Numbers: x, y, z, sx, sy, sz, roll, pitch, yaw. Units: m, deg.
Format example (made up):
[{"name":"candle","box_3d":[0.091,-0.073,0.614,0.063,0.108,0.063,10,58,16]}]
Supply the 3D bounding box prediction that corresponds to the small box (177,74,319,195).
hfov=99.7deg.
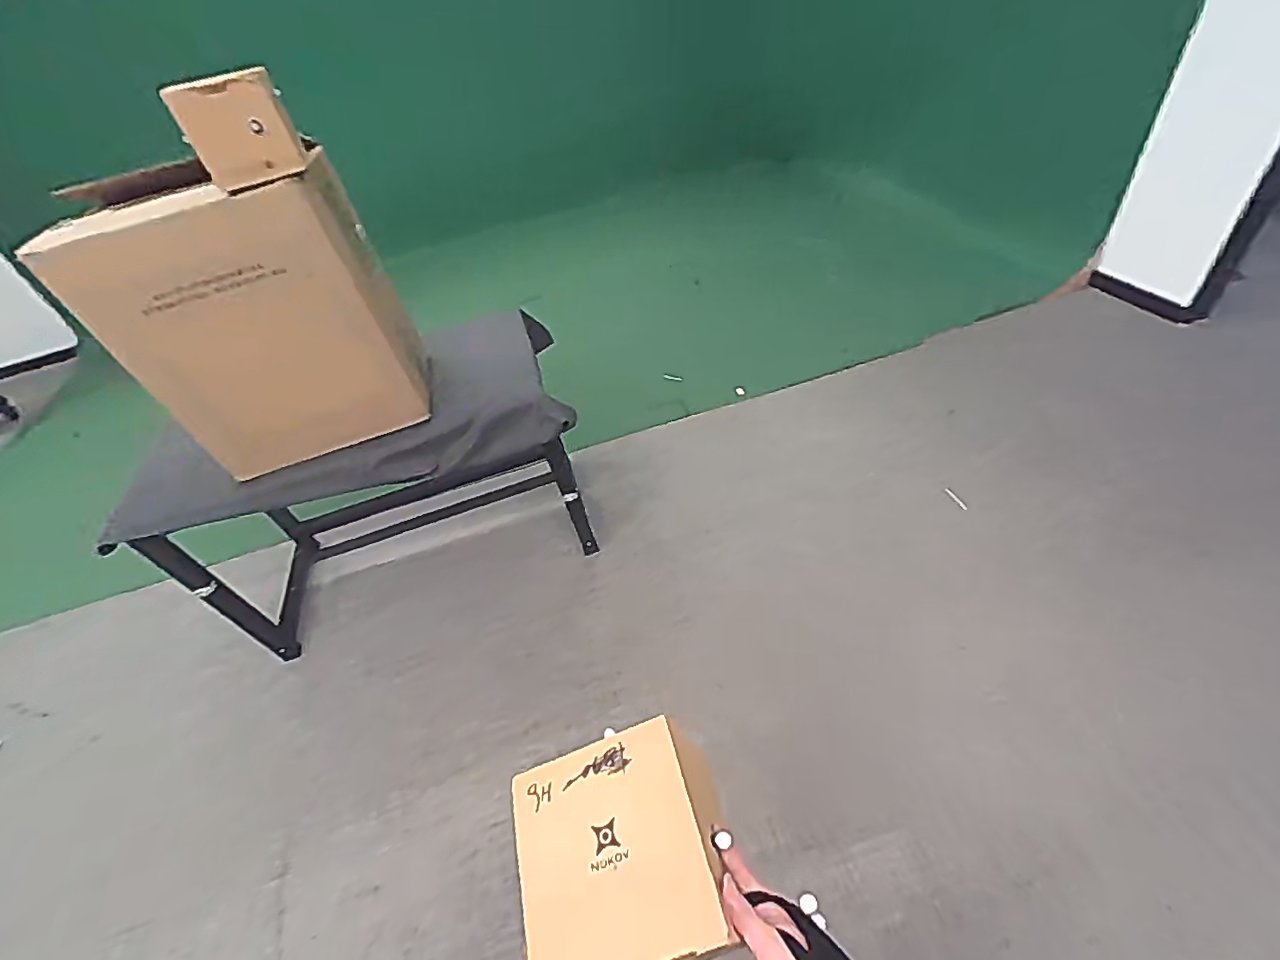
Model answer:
[{"name":"small box","box_3d":[-0.777,-0.697,1.095,0.168,0.176,0.179,-23,43,-12]}]
